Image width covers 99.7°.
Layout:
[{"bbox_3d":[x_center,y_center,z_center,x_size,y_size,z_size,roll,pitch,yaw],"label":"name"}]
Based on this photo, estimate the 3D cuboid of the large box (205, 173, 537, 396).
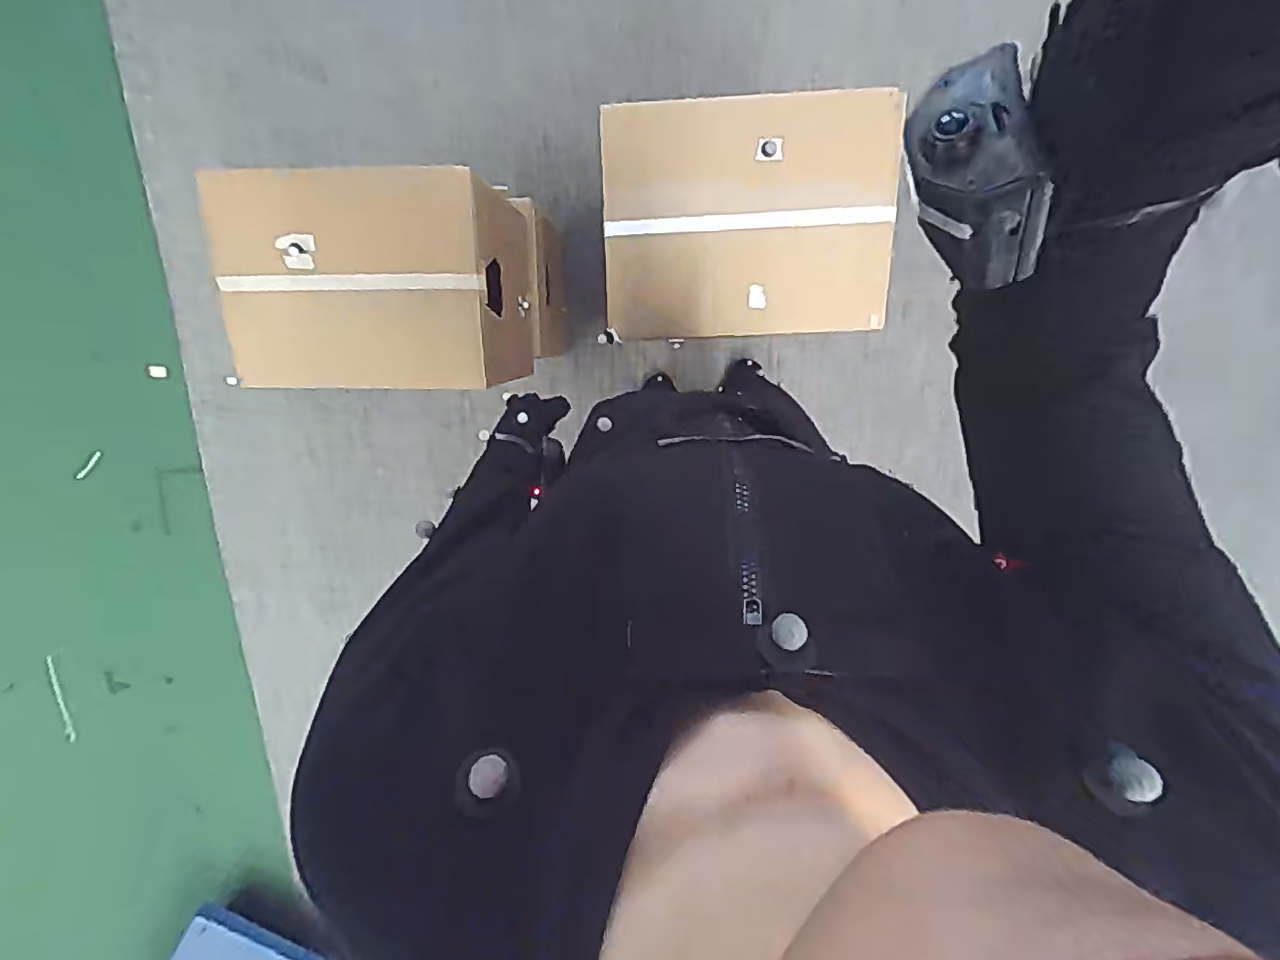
[{"bbox_3d":[-0.421,-0.323,0.949,0.408,0.320,0.320,2,105,4],"label":"large box"}]
